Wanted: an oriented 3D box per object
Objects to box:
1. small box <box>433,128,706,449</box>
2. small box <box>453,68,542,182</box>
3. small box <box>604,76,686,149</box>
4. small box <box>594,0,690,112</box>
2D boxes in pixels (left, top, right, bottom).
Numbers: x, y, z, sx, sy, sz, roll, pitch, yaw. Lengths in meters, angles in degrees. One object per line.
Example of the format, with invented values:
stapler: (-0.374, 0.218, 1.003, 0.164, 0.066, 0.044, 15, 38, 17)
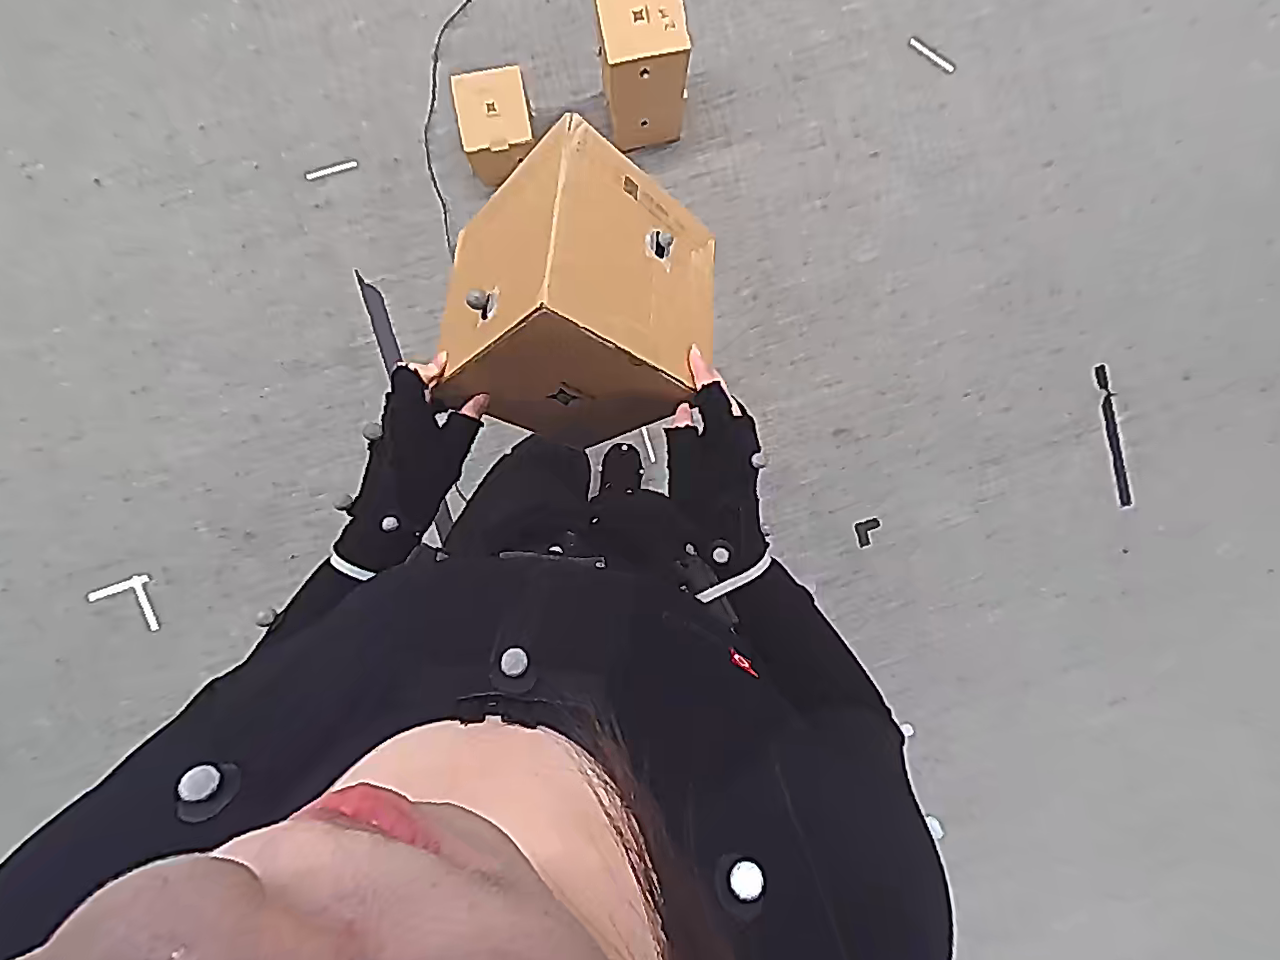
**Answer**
small box: (-0.054, -0.148, 0.475, 0.168, 0.179, 0.176, 20, 65, -39)
small box: (-0.343, -0.868, 1.342, 0.168, 0.176, 0.179, -10, 94, -1)
small box: (0.009, -0.956, 1.340, 0.179, 0.176, 0.168, -13, 95, 0)
small box: (0.003, -0.940, 1.175, 0.179, 0.176, 0.168, -11, 94, -1)
